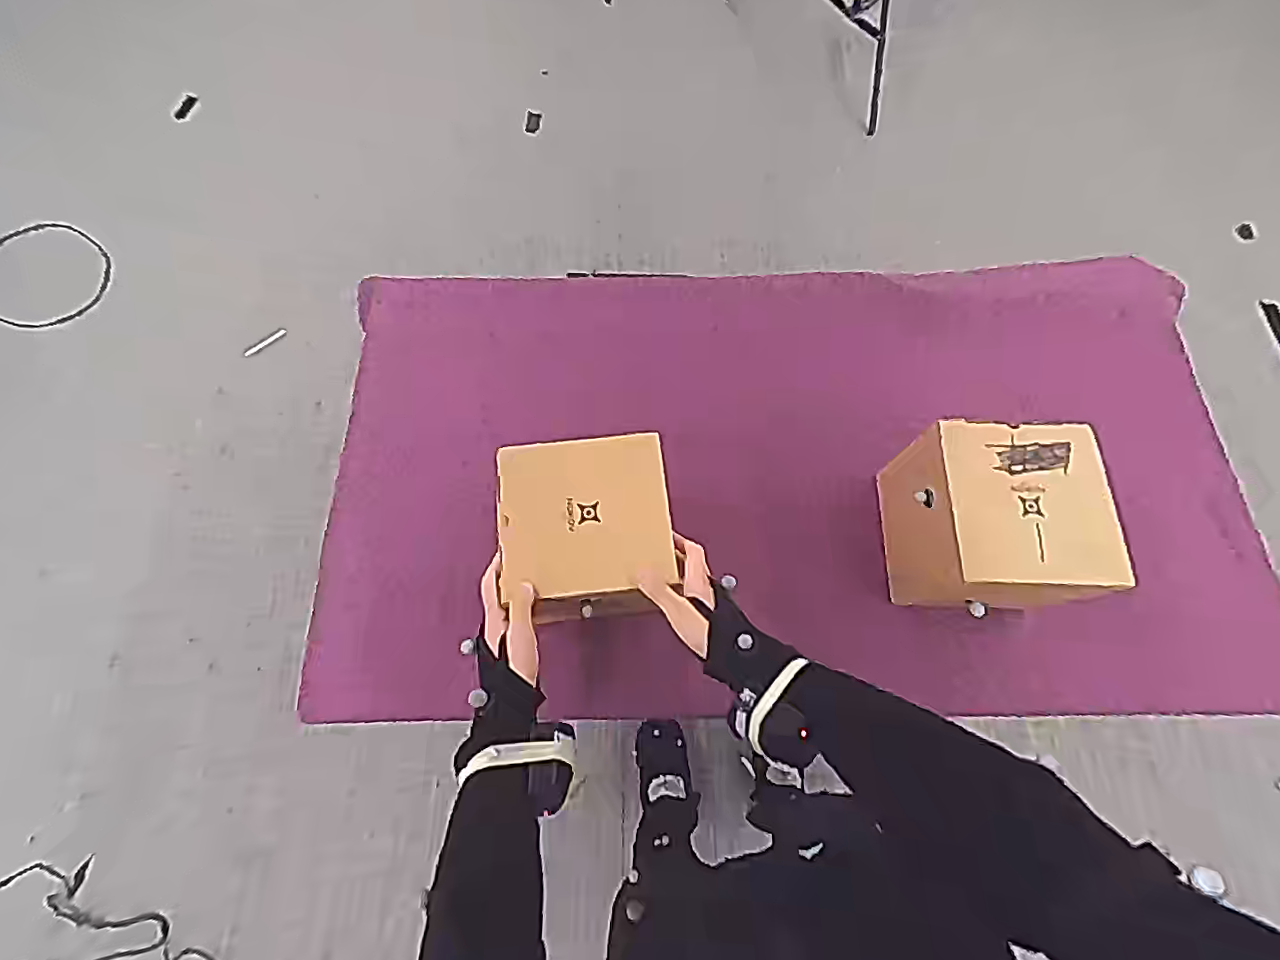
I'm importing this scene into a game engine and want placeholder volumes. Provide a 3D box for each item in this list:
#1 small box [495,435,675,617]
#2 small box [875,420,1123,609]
[{"bbox_3d":[-0.060,0.061,0.627,0.179,0.176,0.168,-7,70,-2],"label":"small box"},{"bbox_3d":[0.391,0.047,0.629,0.168,0.176,0.179,2,70,1],"label":"small box"}]
